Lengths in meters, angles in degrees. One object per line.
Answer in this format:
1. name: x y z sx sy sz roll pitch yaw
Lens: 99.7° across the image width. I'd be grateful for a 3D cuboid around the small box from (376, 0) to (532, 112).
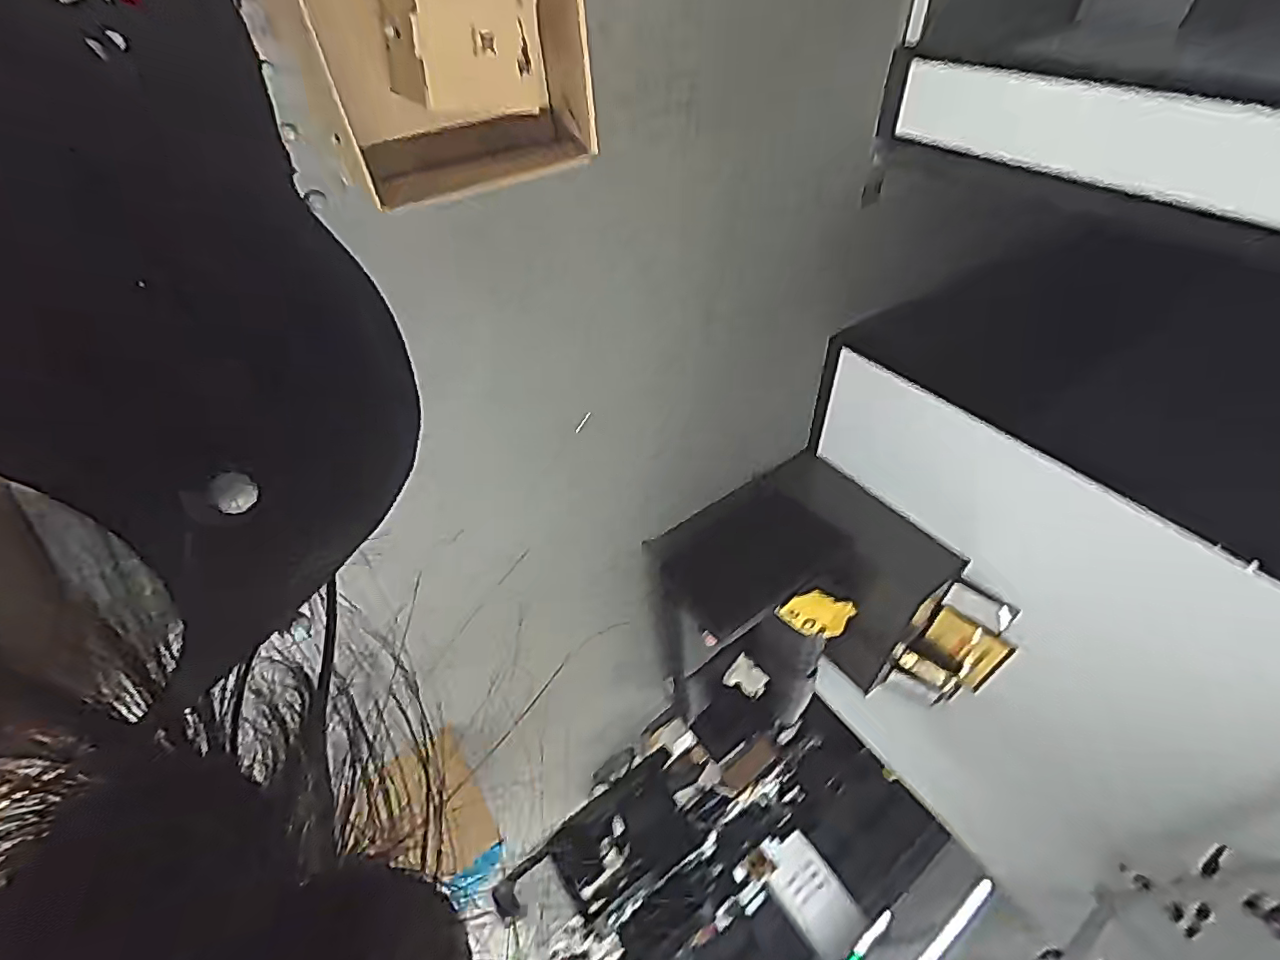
1. small box: -0.274 -0.651 0.789 0.179 0.176 0.168 -21 138 -30
